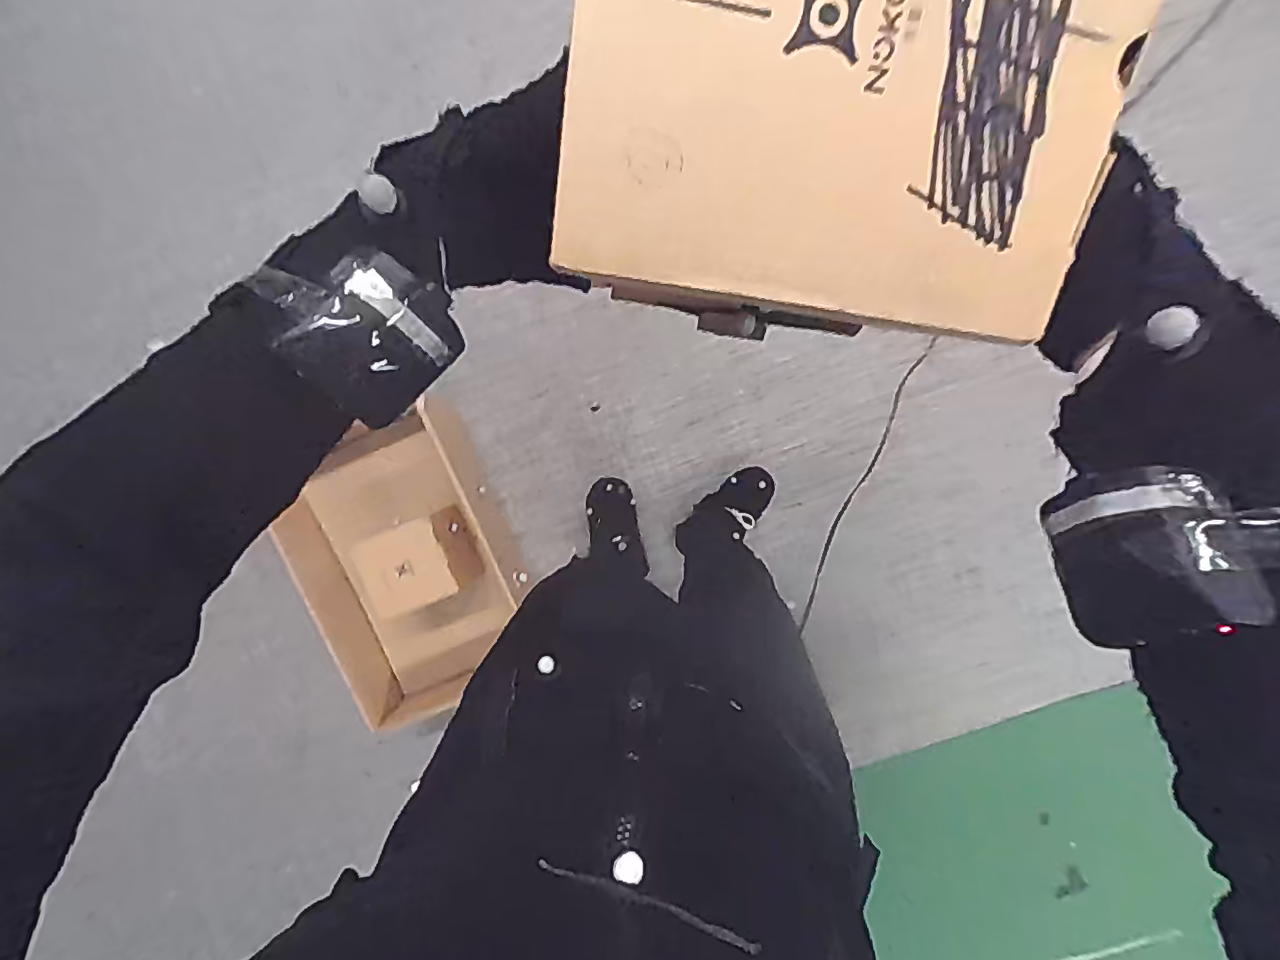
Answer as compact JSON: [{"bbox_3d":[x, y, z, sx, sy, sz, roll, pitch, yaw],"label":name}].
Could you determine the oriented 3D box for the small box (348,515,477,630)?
[{"bbox_3d":[-0.467,0.186,1.148,0.179,0.176,0.168,-22,93,5],"label":"small box"}]

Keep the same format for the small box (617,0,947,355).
[{"bbox_3d":[0.085,-0.203,0.406,0.168,0.176,0.179,10,109,1],"label":"small box"}]
